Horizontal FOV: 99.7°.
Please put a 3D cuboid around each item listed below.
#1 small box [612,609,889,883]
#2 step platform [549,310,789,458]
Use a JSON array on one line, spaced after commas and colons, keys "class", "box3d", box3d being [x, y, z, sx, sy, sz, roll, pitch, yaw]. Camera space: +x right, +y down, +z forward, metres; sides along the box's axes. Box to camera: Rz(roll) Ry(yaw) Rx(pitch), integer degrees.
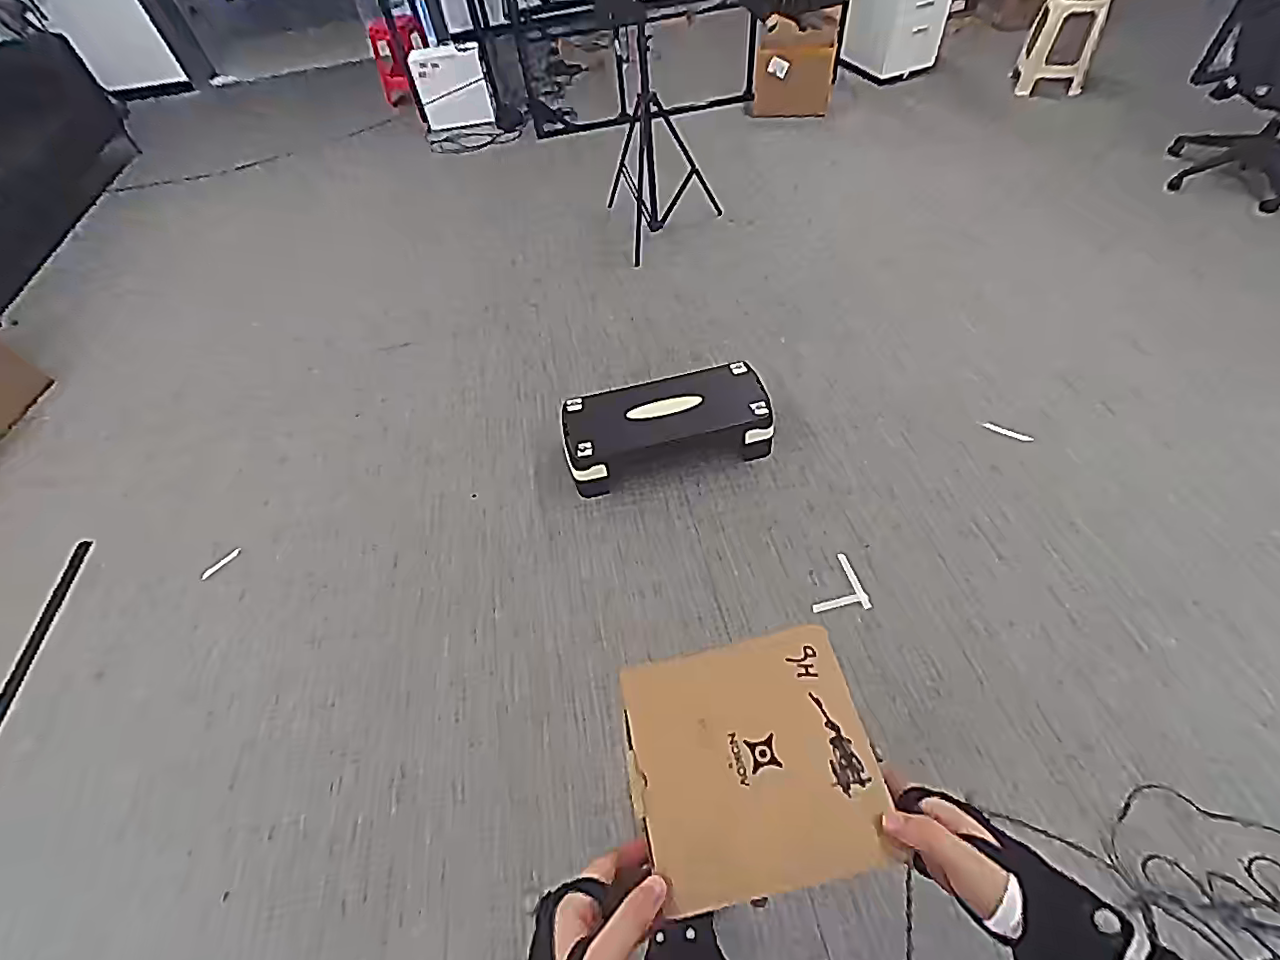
[{"class": "small box", "box3d": [0.083, 0.236, 0.481, 0.179, 0.176, 0.168, -12, 58, -2]}, {"class": "step platform", "box3d": [0.083, -0.285, 1.627, 0.684, 0.204, 0.286, -13, 53, -4]}]
